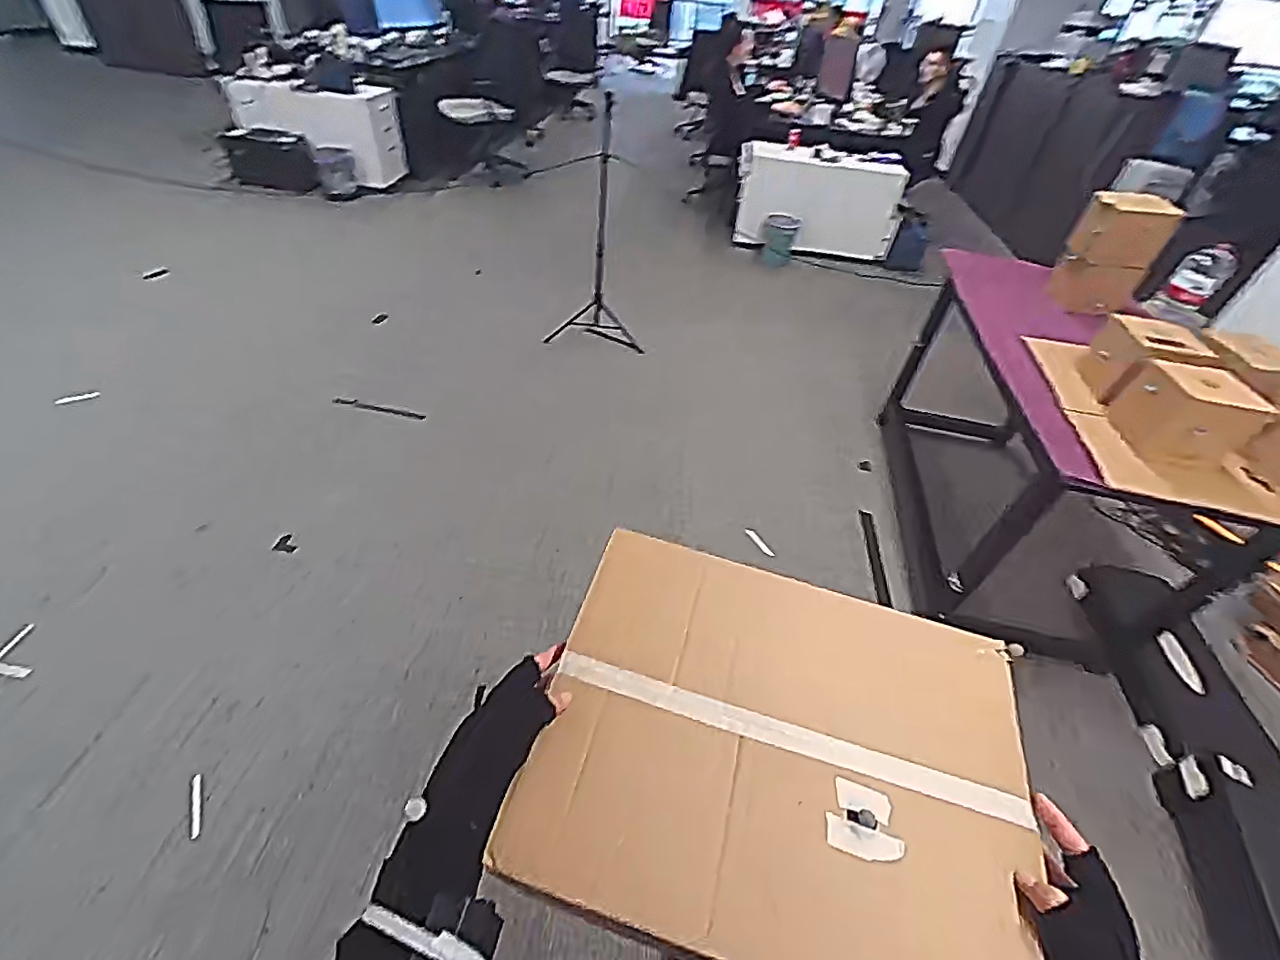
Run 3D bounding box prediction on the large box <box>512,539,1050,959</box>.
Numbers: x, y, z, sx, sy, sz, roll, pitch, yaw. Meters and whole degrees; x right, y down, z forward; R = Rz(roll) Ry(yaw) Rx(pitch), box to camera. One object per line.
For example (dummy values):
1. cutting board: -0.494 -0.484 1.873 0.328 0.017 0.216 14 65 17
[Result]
1. large box: 0.118 0.318 0.586 0.408 0.320 0.320 16 51 7
